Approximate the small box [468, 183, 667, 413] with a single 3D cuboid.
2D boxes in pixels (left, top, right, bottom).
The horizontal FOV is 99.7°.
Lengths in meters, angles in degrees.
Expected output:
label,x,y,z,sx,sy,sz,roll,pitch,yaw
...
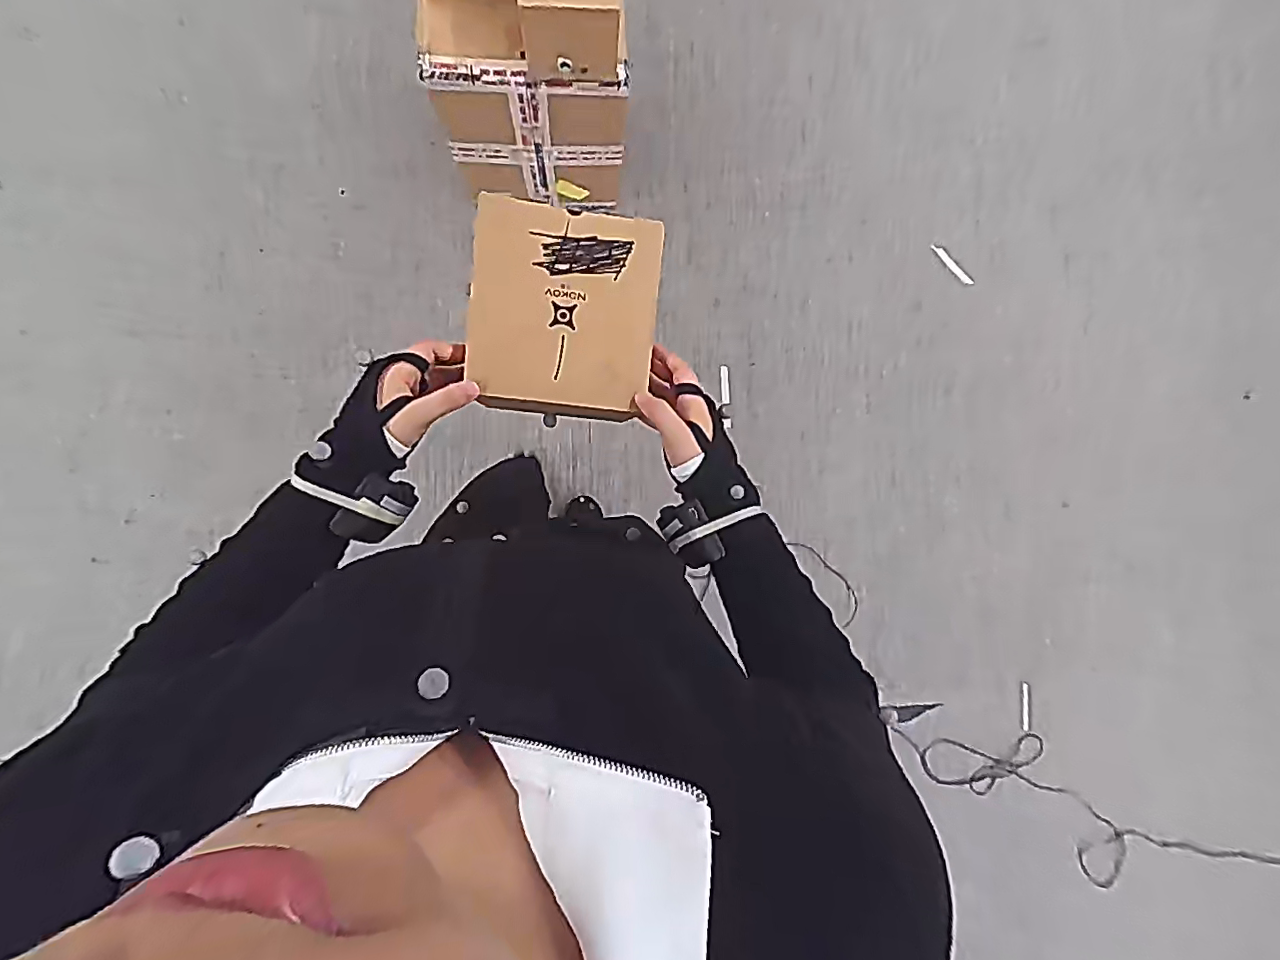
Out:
label,x,y,z,sx,sy,sz,roll,pitch,yaw
small box,-0.076,-0.170,0.563,0.168,0.176,0.179,5,93,-8
